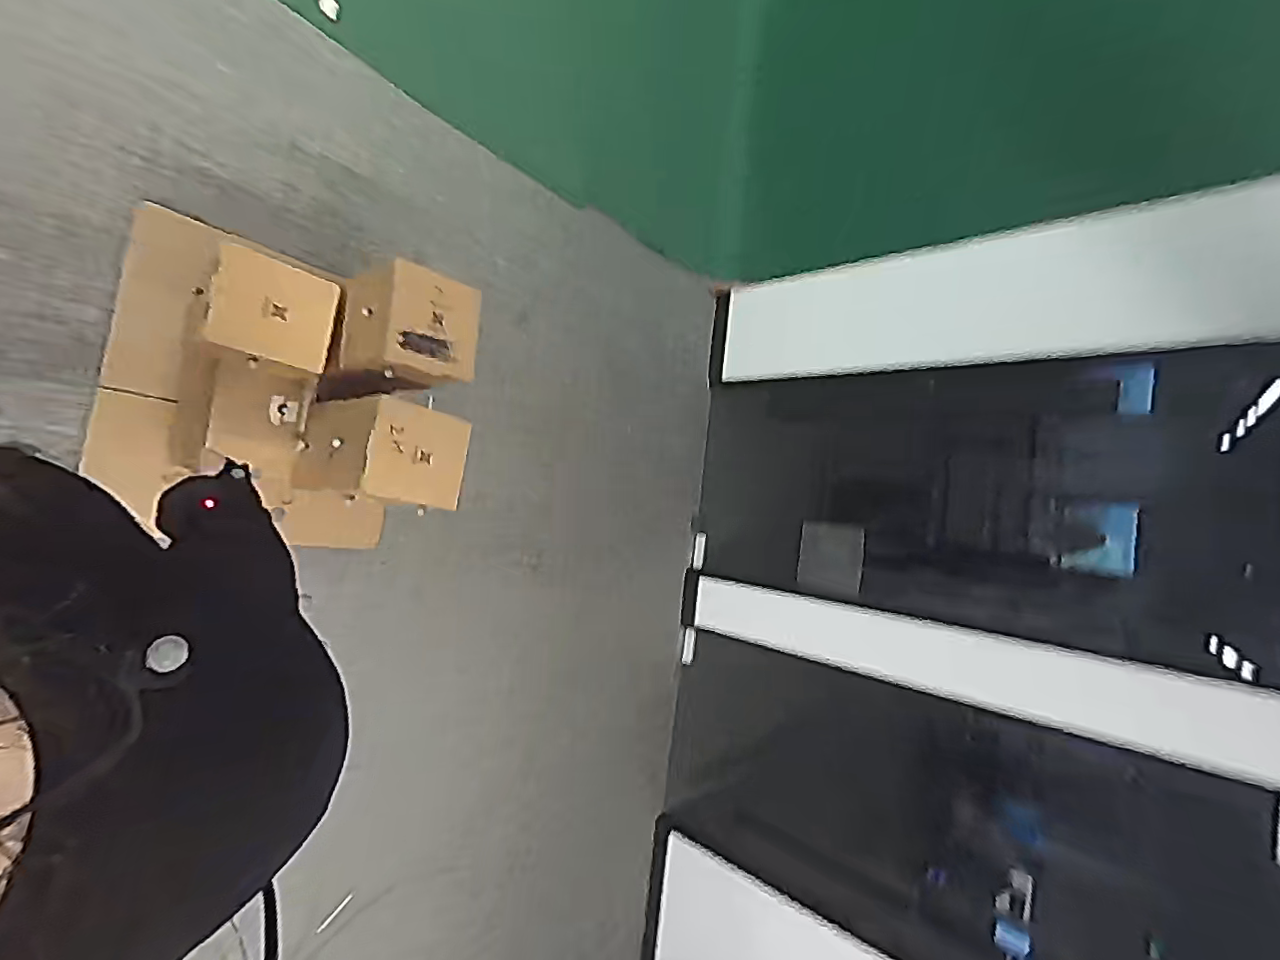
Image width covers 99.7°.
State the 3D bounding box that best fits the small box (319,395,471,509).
[{"bbox_3d":[-0.442,-0.046,0.980,0.179,0.176,0.168,18,77,-49],"label":"small box"}]

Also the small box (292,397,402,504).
[{"bbox_3d":[-0.572,-0.054,1.086,0.168,0.176,0.179,17,78,-49],"label":"small box"}]
